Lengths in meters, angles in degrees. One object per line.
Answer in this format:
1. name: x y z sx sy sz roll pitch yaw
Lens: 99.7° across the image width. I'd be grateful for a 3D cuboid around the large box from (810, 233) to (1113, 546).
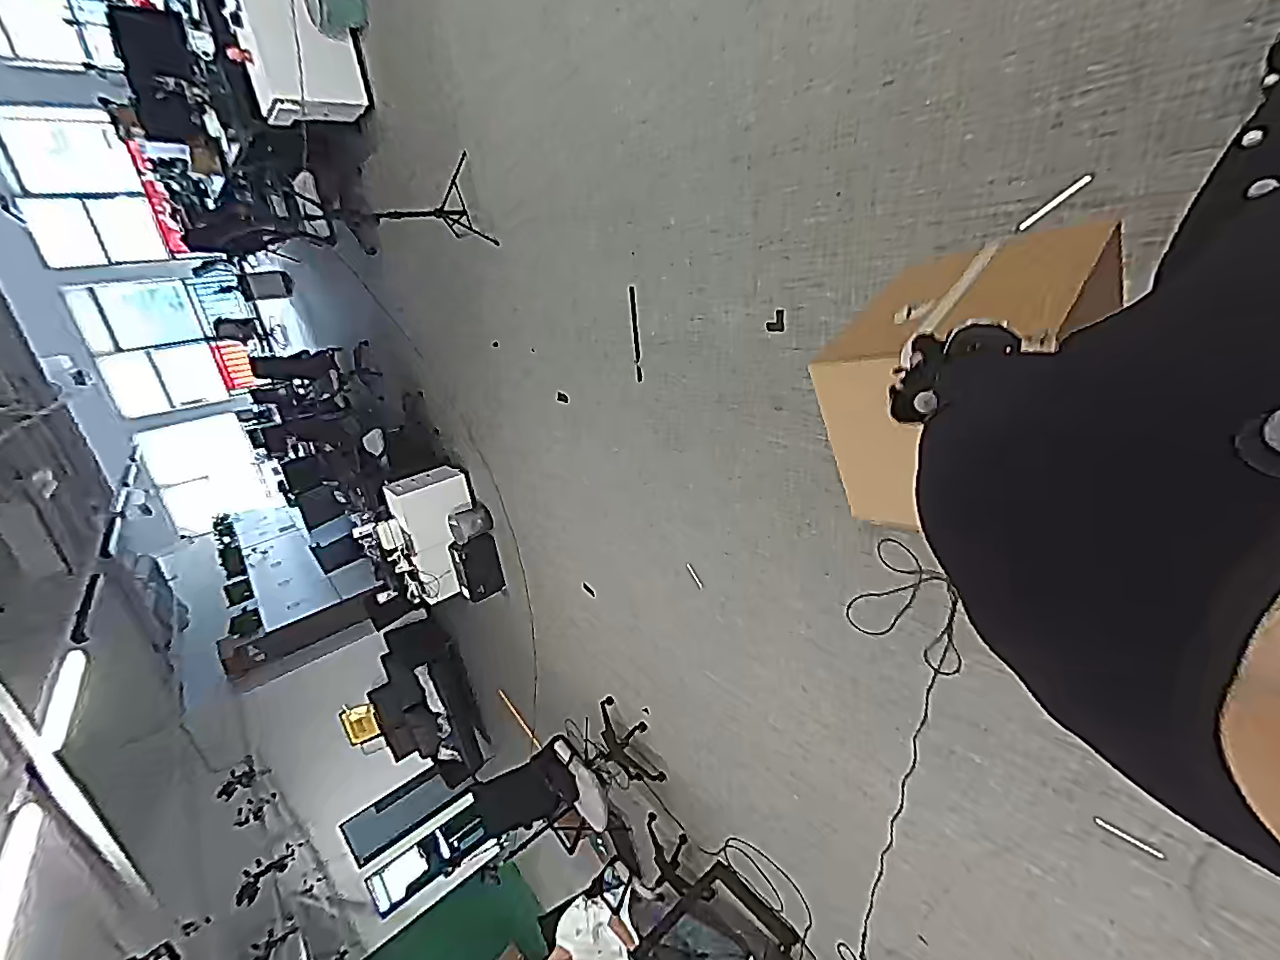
1. large box: 0.545 -0.149 0.890 0.320 0.408 0.320 3 127 50
